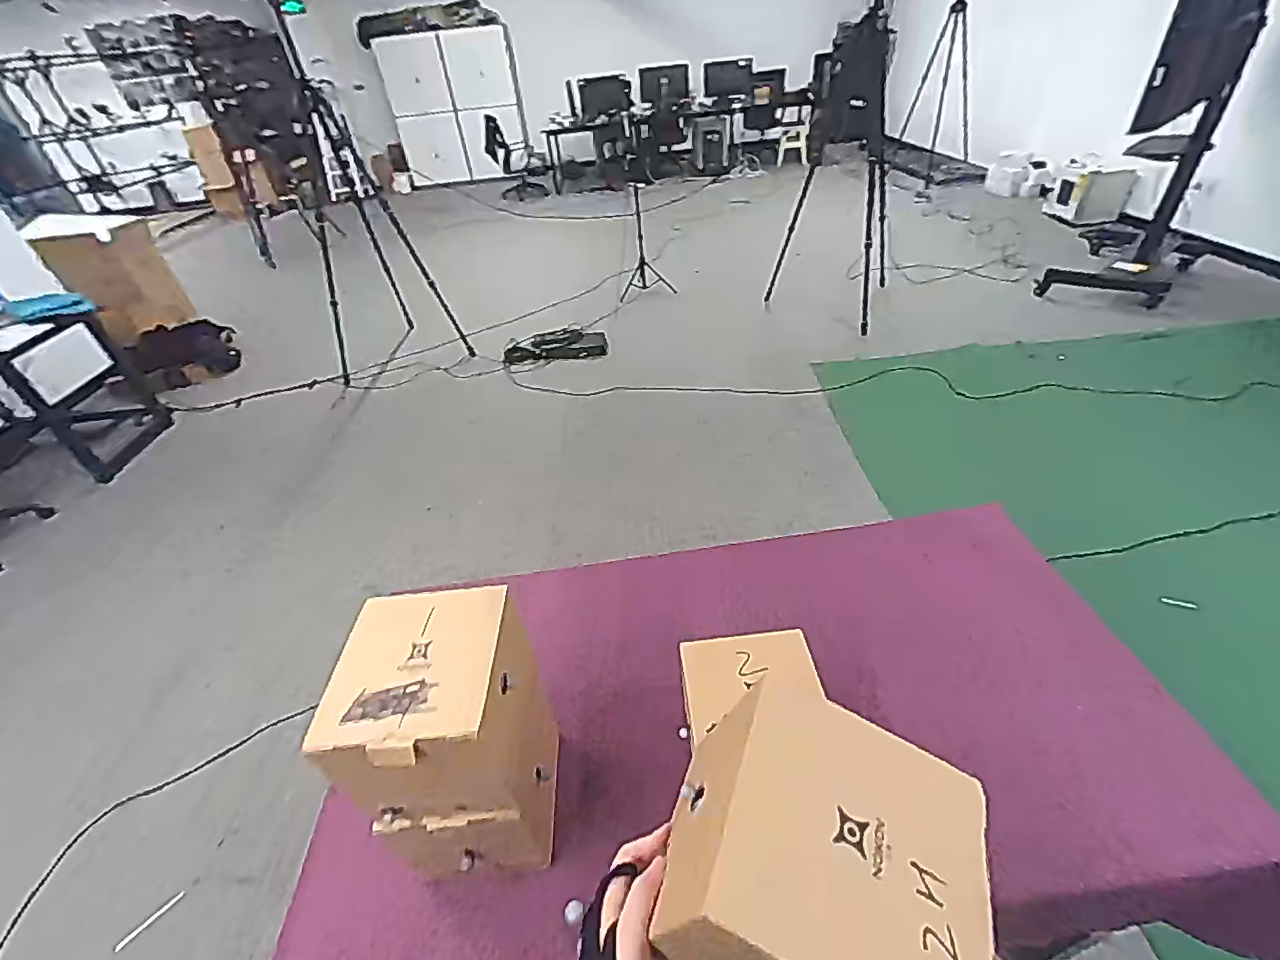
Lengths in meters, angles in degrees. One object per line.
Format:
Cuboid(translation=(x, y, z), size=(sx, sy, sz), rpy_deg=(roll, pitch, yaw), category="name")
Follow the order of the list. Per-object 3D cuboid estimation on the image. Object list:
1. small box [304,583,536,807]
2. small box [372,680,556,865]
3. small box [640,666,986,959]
Cuboid(translation=(-0.218, 0.240, 0.598), size=(0.168, 0.176, 0.179), rpy_deg=(-5, 38, 1), category="small box")
Cuboid(translation=(-0.206, 0.372, 0.696), size=(0.168, 0.176, 0.179), rpy_deg=(-5, 40, 1), category="small box")
Cuboid(translation=(0.120, 0.282, 0.405), size=(0.179, 0.176, 0.168), rpy_deg=(28, 45, 8), category="small box")
